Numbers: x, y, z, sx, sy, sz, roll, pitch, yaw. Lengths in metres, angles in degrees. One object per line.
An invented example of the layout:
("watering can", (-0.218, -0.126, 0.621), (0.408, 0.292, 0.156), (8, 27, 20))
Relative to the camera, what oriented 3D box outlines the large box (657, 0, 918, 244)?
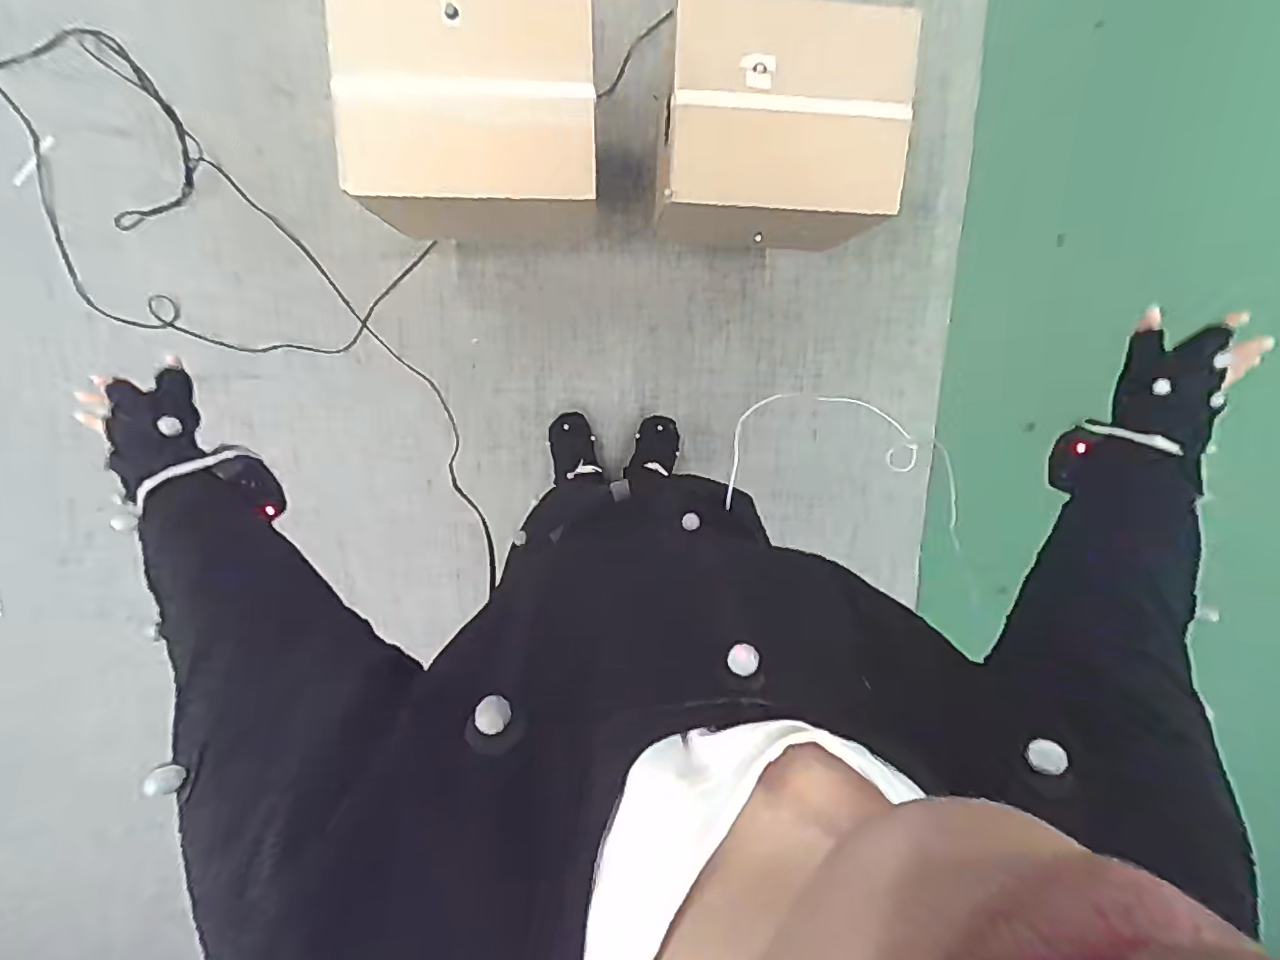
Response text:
("large box", (0.250, -0.657, 1.053), (0.408, 0.320, 0.320), (2, 102, -4))
